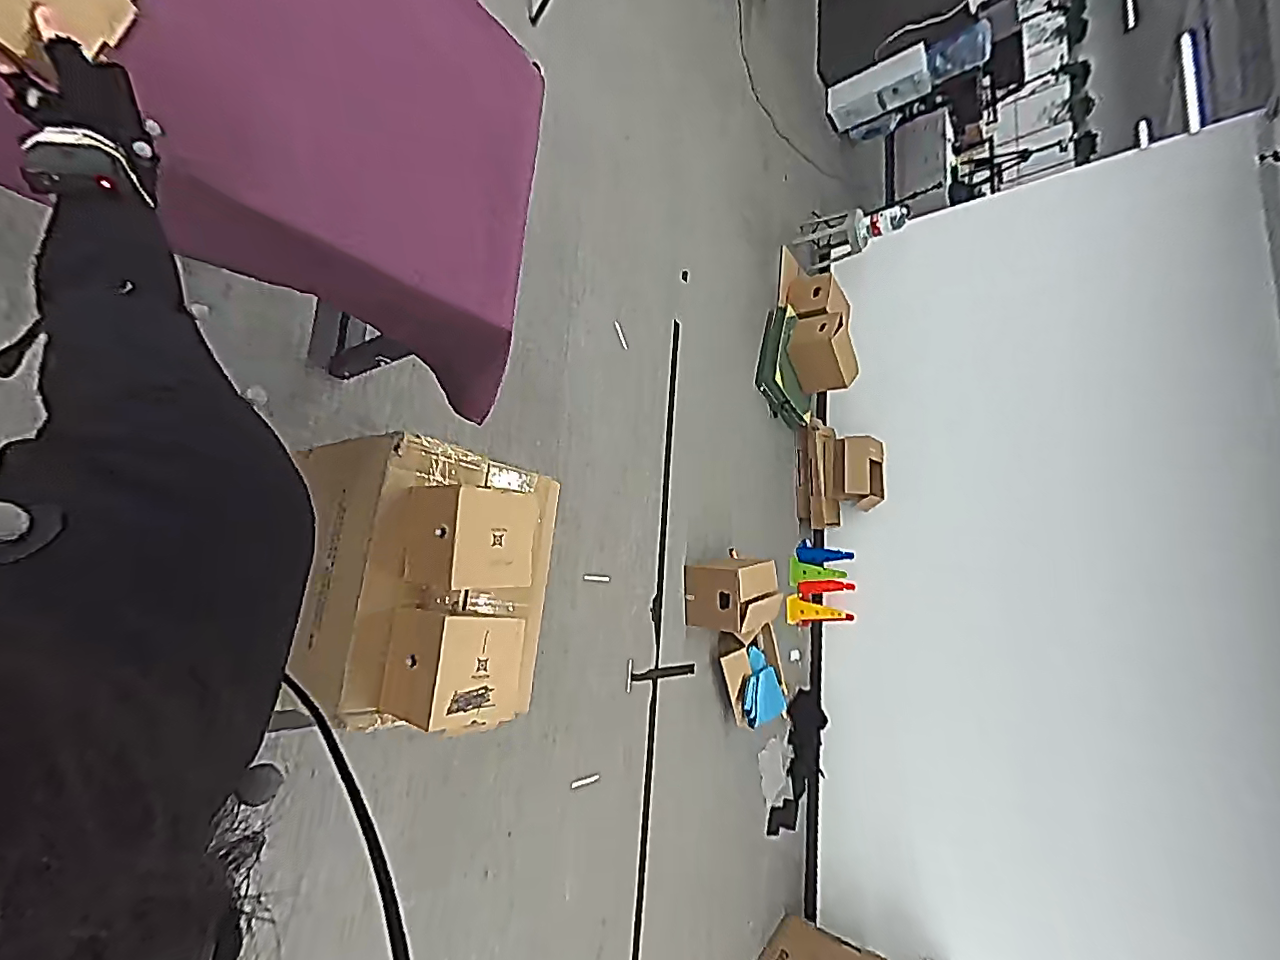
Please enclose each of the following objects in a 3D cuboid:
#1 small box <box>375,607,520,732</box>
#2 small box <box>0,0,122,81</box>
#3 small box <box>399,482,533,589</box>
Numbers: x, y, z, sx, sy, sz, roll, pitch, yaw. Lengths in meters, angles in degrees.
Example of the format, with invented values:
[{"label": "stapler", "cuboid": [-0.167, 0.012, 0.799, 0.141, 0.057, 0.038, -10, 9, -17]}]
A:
[{"label": "small box", "cuboid": [-0.337, 0.320, 0.942, 0.168, 0.176, 0.179, 20, 70, -49]}, {"label": "small box", "cuboid": [-0.574, -0.486, 0.435, 0.168, 0.176, 0.179, -62, 169, -5]}, {"label": "small box", "cuboid": [-0.318, 0.101, 0.987, 0.168, 0.176, 0.179, 11, 81, -49]}]
